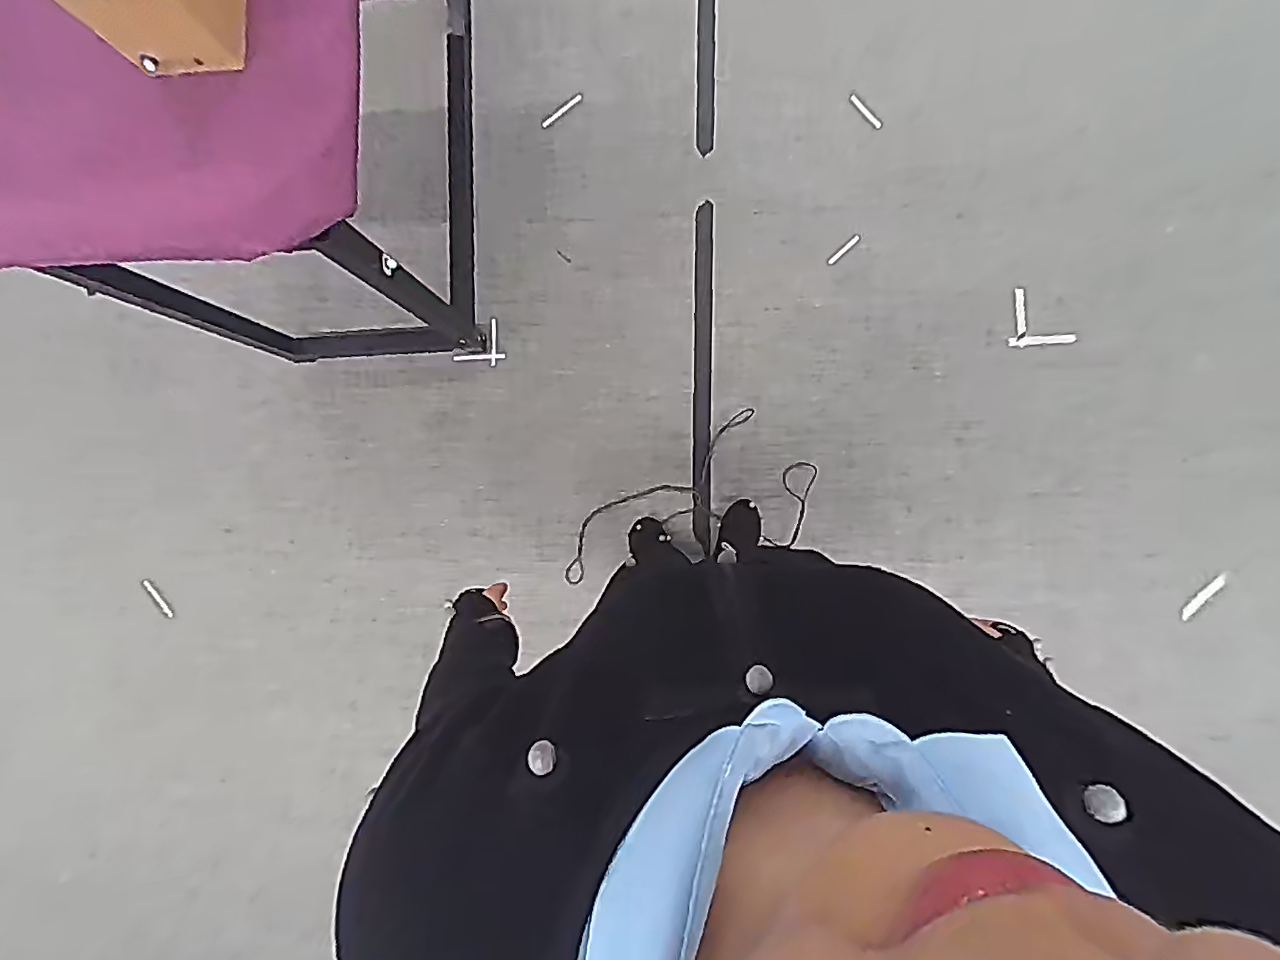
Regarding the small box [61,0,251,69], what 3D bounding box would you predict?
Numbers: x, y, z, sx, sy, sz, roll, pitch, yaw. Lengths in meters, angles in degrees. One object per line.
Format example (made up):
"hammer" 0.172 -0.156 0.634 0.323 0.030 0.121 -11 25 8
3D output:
"small box" -0.701 -0.734 0.781 0.168 0.176 0.179 0 87 4
